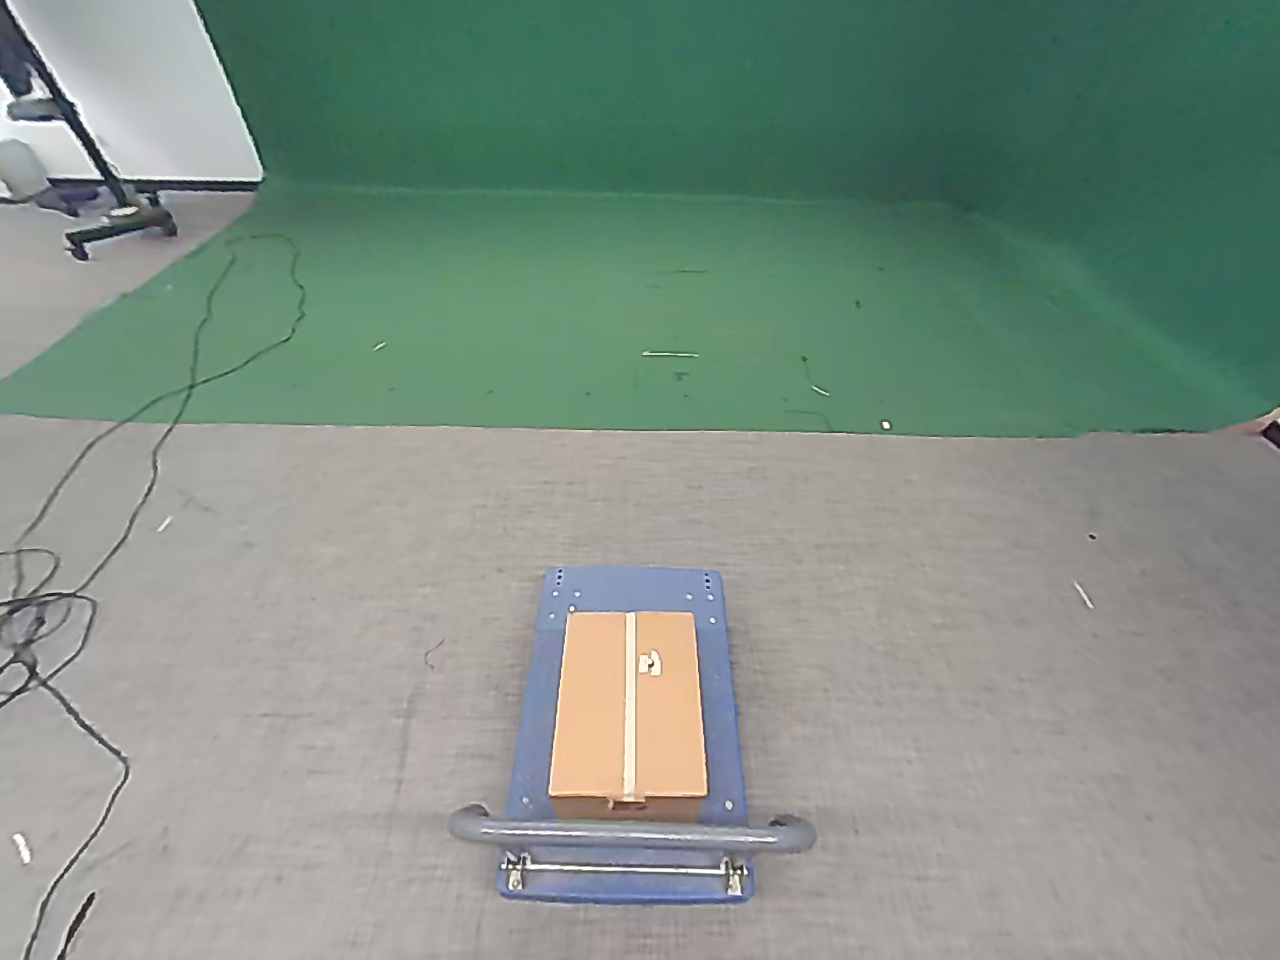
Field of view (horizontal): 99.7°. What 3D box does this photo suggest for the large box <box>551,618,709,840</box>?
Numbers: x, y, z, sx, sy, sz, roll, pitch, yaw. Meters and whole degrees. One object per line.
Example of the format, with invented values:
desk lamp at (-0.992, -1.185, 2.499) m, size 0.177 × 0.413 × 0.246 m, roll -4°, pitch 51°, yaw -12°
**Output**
large box at (-0.023, 0.586, 1.286) m, size 0.320 × 0.320 × 0.408 m, roll 1°, pitch 44°, yaw -1°
